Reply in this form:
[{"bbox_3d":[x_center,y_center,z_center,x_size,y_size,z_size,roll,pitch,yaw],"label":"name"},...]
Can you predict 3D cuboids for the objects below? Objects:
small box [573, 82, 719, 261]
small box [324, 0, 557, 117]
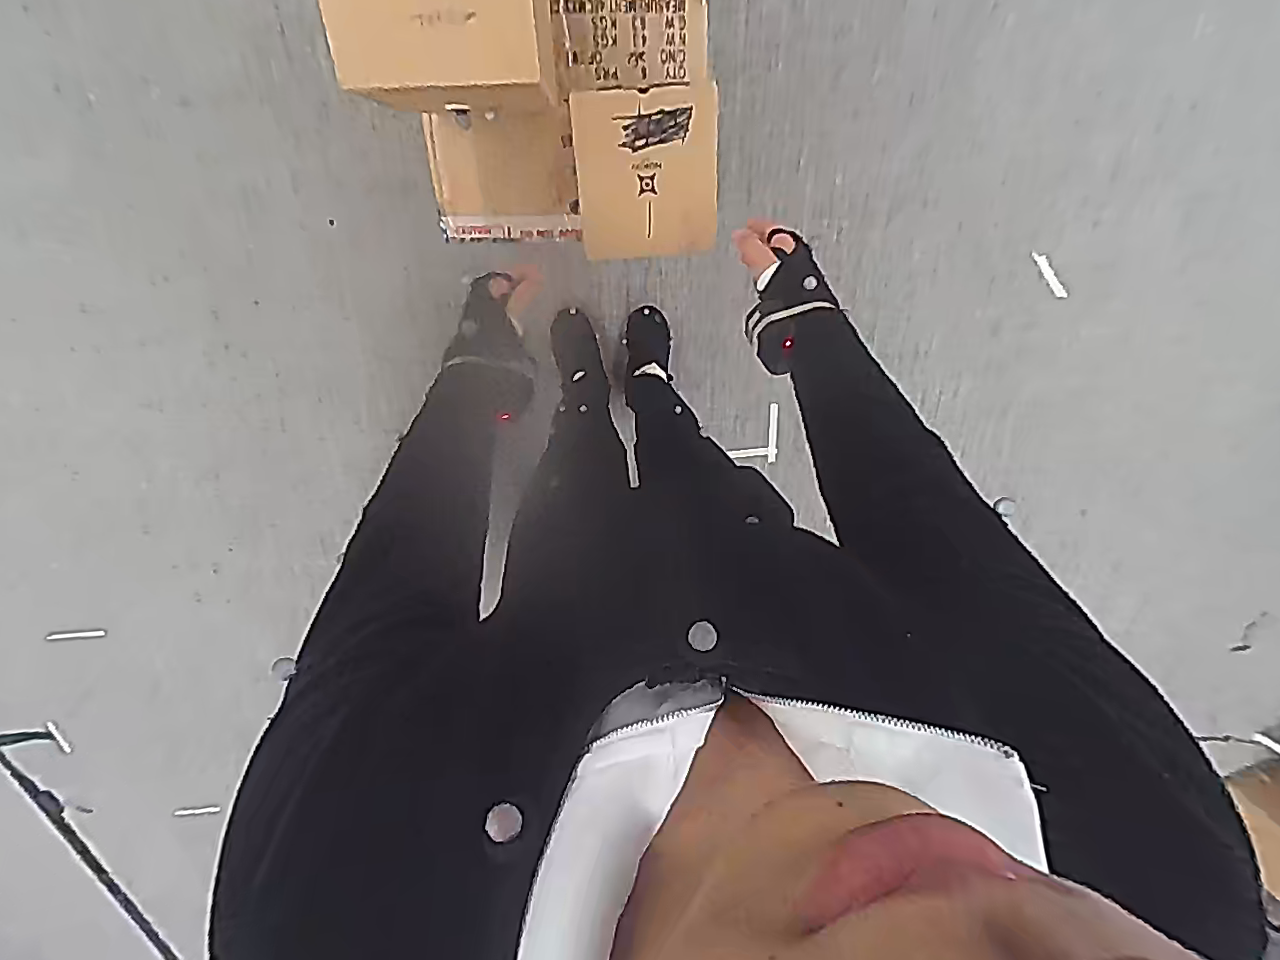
[{"bbox_3d":[0.003,-0.389,0.698,0.168,0.176,0.179,-6,119,-3],"label":"small box"},{"bbox_3d":[-0.167,-0.436,0.474,0.168,0.176,0.179,-4,119,-2],"label":"small box"}]
